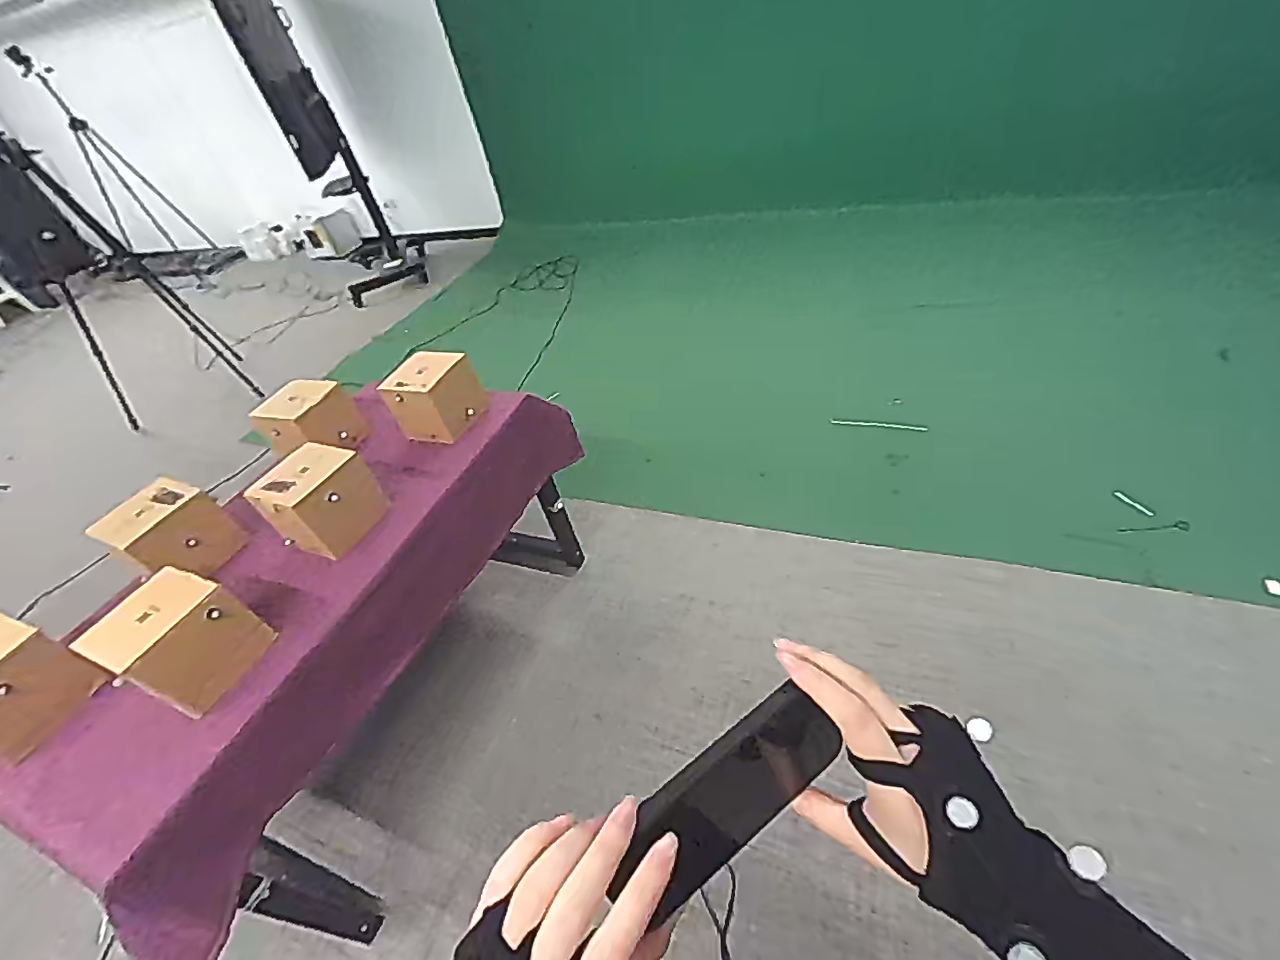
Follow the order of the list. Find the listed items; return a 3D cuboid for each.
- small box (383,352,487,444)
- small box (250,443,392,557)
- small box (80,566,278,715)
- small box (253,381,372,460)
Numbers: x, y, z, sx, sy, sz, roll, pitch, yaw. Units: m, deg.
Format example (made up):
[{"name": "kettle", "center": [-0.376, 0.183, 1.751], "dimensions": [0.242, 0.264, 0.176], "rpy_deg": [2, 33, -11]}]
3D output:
[{"name": "small box", "center": [-0.531, -0.219, 1.434], "dimensions": [0.168, 0.176, 0.179], "rpy_deg": [7, 46, 22]}, {"name": "small box", "center": [-0.692, 0.044, 1.195], "dimensions": [0.168, 0.176, 0.179], "rpy_deg": [11, 47, 25]}, {"name": "small box", "center": [-0.807, 0.287, 0.966], "dimensions": [0.168, 0.176, 0.179], "rpy_deg": [9, 46, 24]}, {"name": "small box", "center": [-0.869, -0.149, 1.450], "dimensions": [0.179, 0.176, 0.168], "rpy_deg": [6, 46, 21]}]
